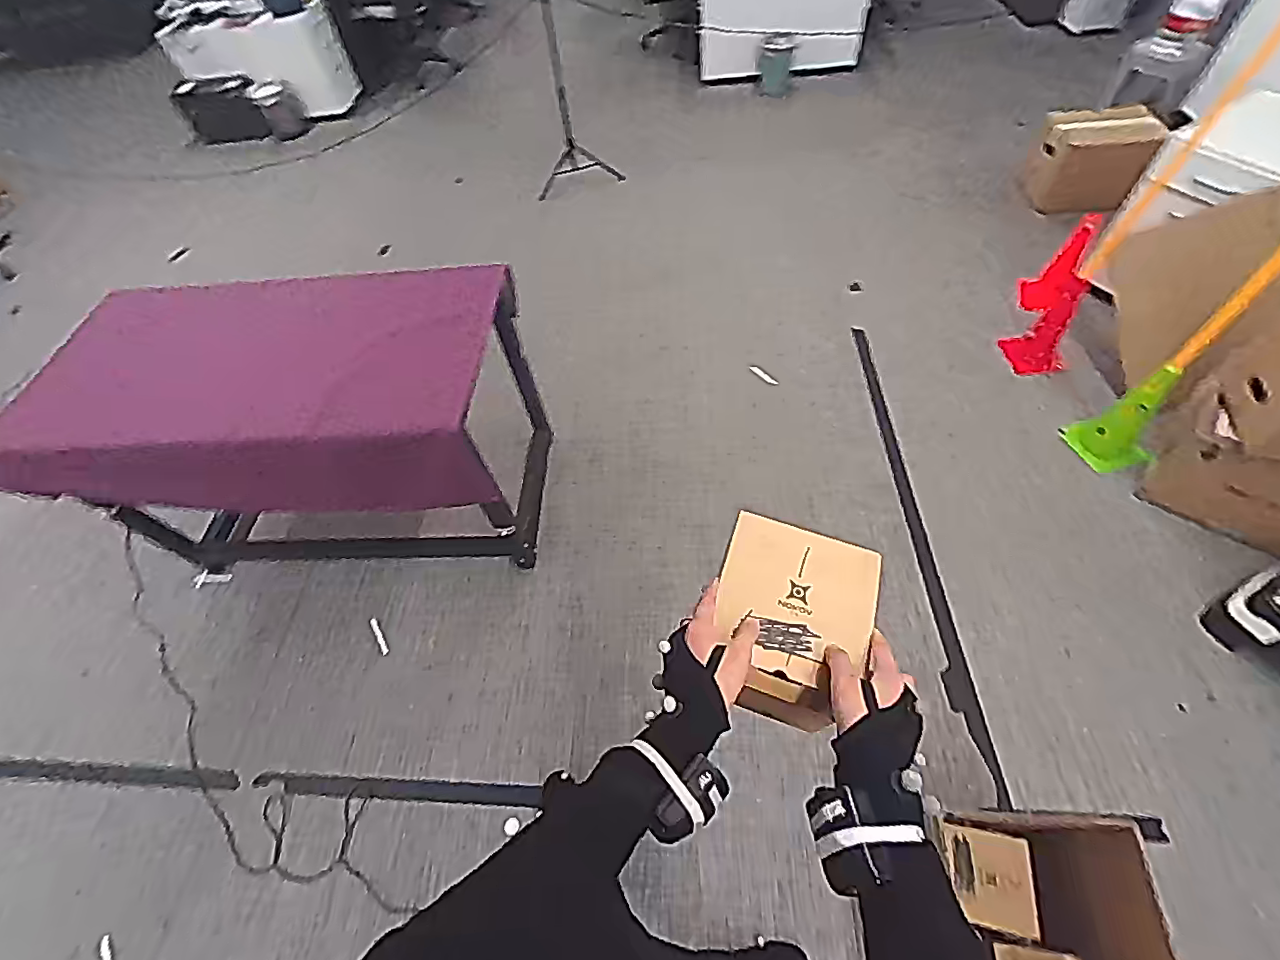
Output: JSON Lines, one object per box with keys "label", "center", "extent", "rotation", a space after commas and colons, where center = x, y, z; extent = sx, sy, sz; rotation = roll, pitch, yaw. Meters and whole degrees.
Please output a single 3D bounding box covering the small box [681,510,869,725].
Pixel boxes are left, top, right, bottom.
{"label": "small box", "center": [0.150, 0.168, 0.641], "extent": [0.168, 0.176, 0.179], "rotation": [17, 58, 10]}
